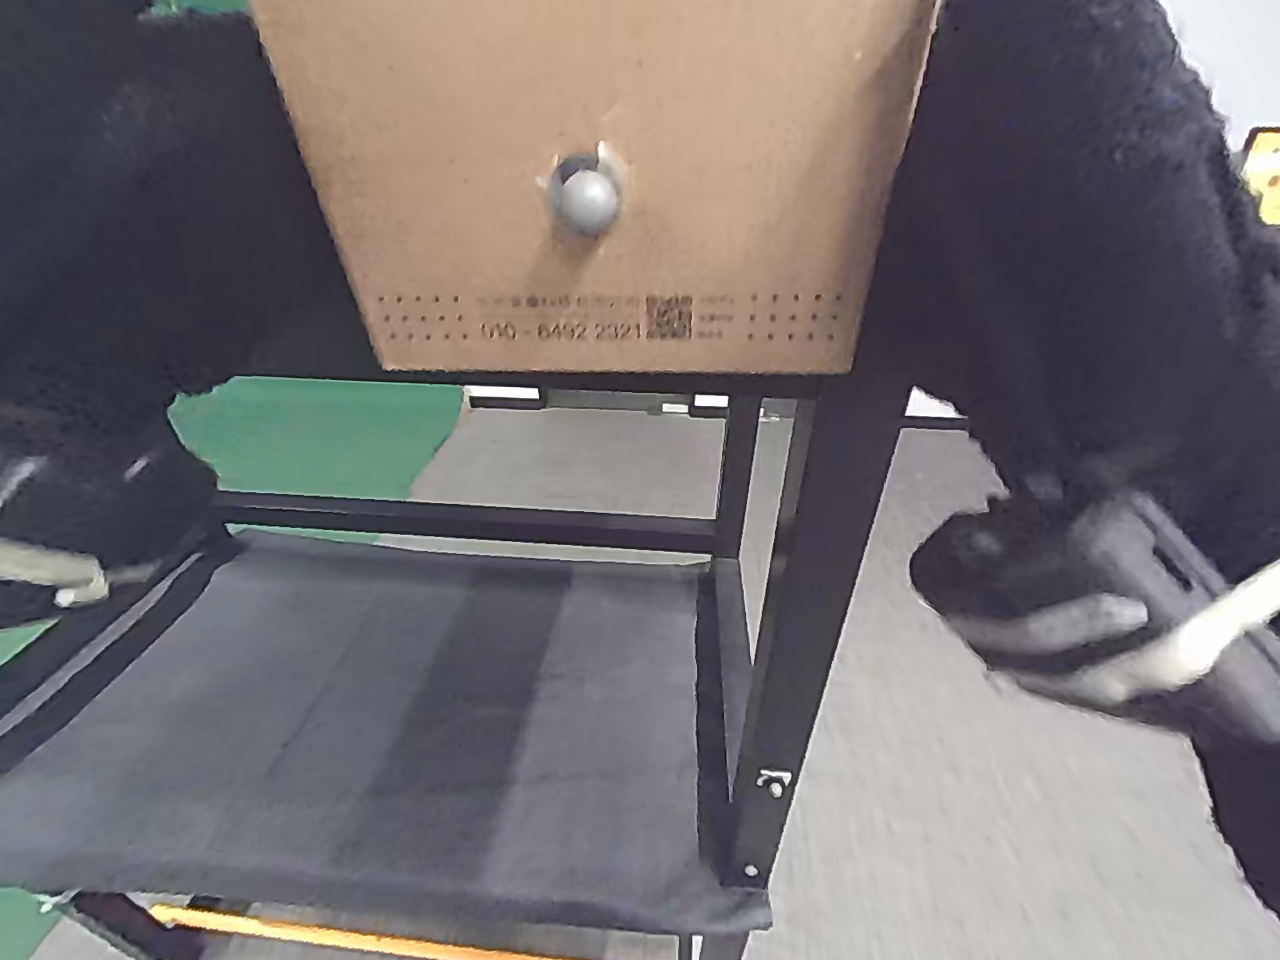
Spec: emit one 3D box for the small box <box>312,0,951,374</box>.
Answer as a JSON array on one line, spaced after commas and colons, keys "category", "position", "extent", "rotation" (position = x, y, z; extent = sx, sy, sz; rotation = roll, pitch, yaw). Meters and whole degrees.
[{"category": "small box", "position": [-0.002, -0.156, 0.202], "extent": [0.168, 0.176, 0.179], "rotation": [1, 40, 4]}]
